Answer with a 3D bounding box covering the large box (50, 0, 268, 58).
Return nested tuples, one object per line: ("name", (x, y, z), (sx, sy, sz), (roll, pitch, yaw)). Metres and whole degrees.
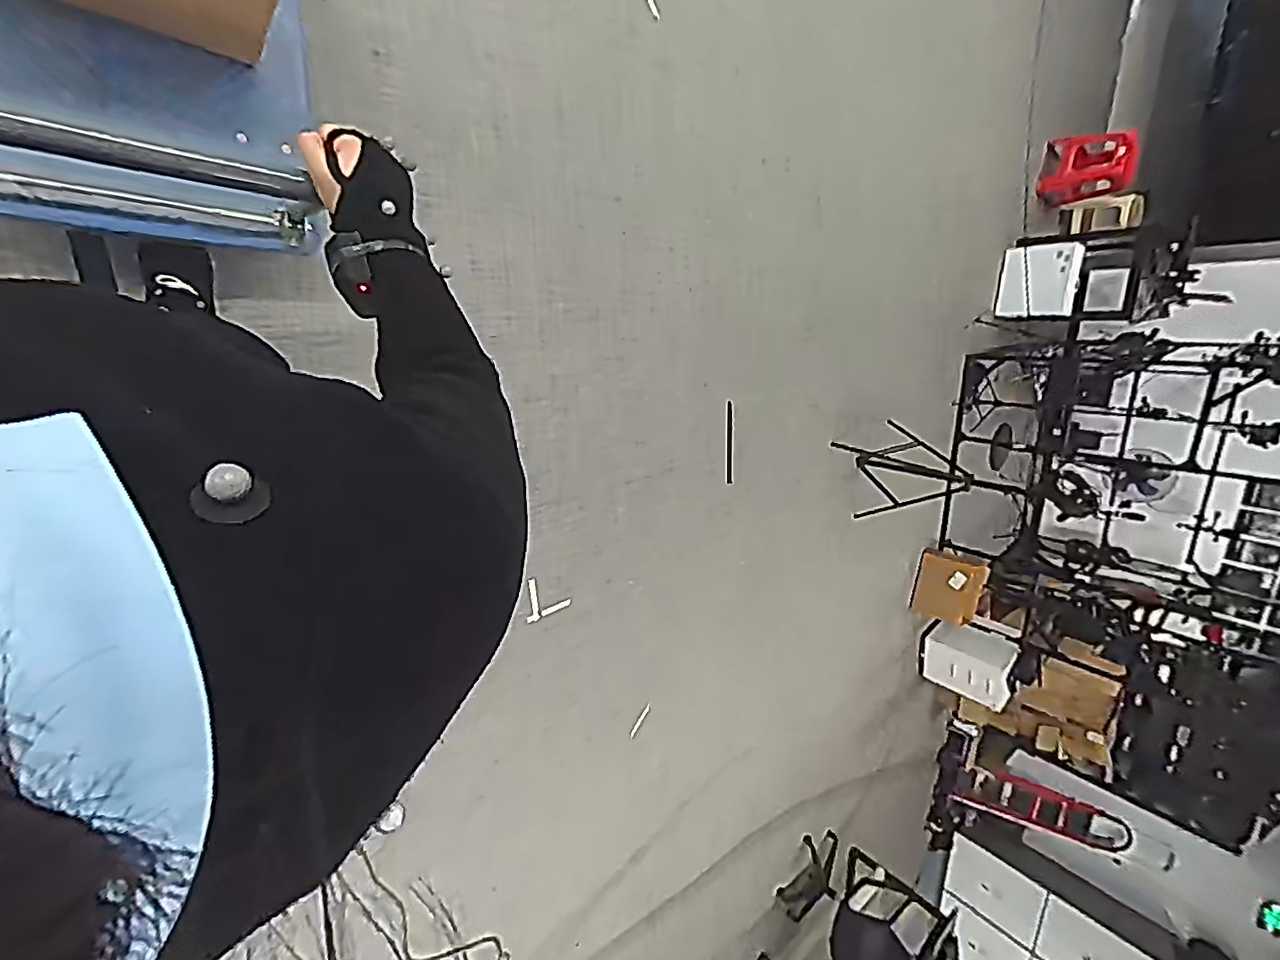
("large box", (-0.760, -0.853, 0.717), (0.408, 0.320, 0.320), (-7, 106, -39))
